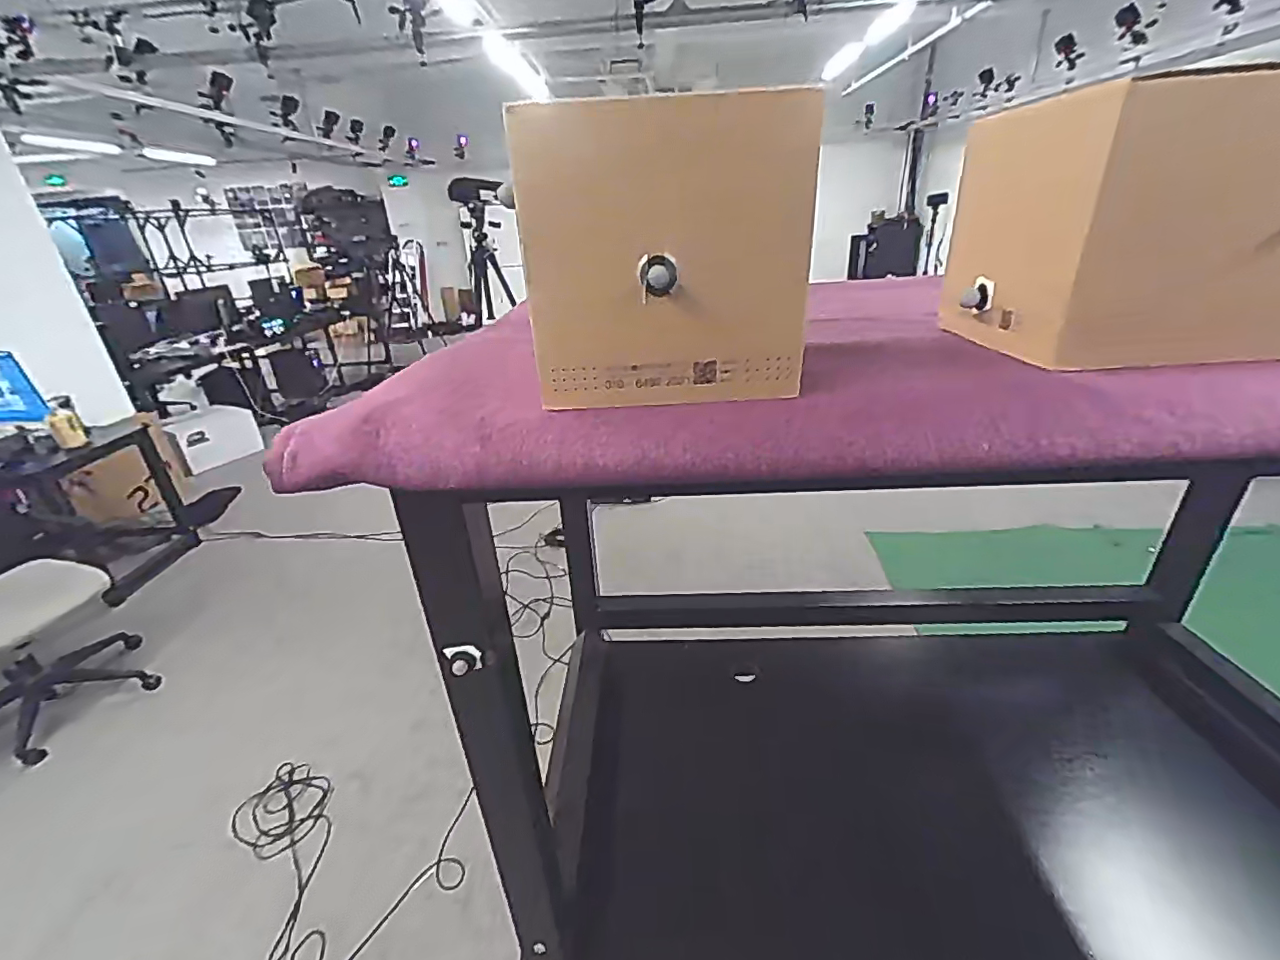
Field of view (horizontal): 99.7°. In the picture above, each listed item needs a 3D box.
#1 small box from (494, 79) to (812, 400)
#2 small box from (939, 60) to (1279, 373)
[{"bbox_3d":[0.010,-0.158,0.379,0.168,0.176,0.179,-2,27,0],"label":"small box"},{"bbox_3d":[0.352,-0.183,0.393,0.179,0.176,0.168,-4,26,2],"label":"small box"}]
